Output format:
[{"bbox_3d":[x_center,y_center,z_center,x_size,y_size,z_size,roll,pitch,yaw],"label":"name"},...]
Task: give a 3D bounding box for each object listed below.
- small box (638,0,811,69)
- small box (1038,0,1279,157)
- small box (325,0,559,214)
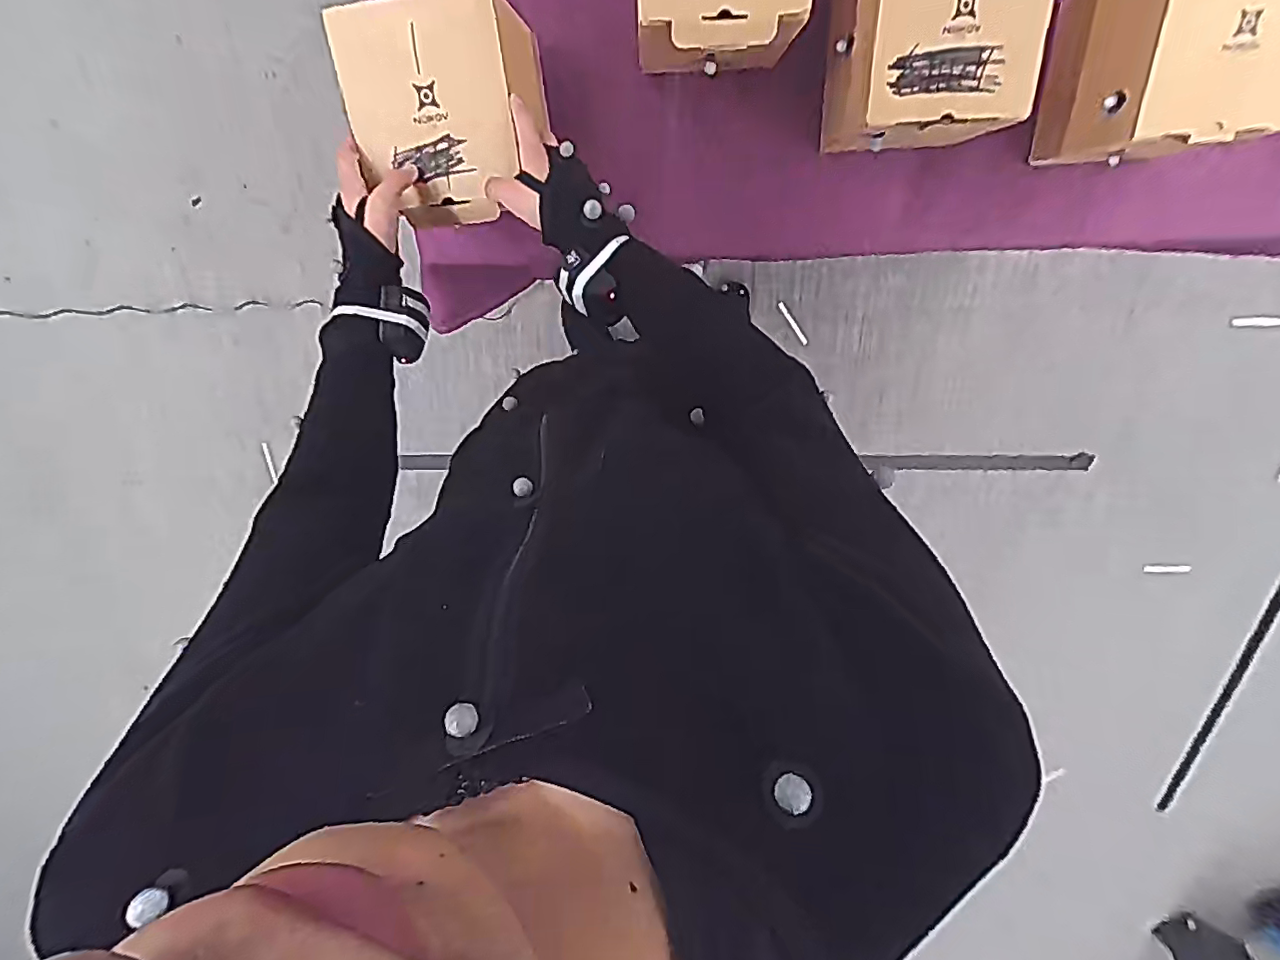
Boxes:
[{"bbox_3d":[0.080,-0.555,0.555,0.168,0.176,0.179,-1,114,2],"label":"small box"},{"bbox_3d":[0.581,-0.469,0.588,0.168,0.176,0.179,-3,114,2],"label":"small box"},{"bbox_3d":[-0.196,-0.398,0.597,0.168,0.176,0.179,-4,113,7],"label":"small box"}]
